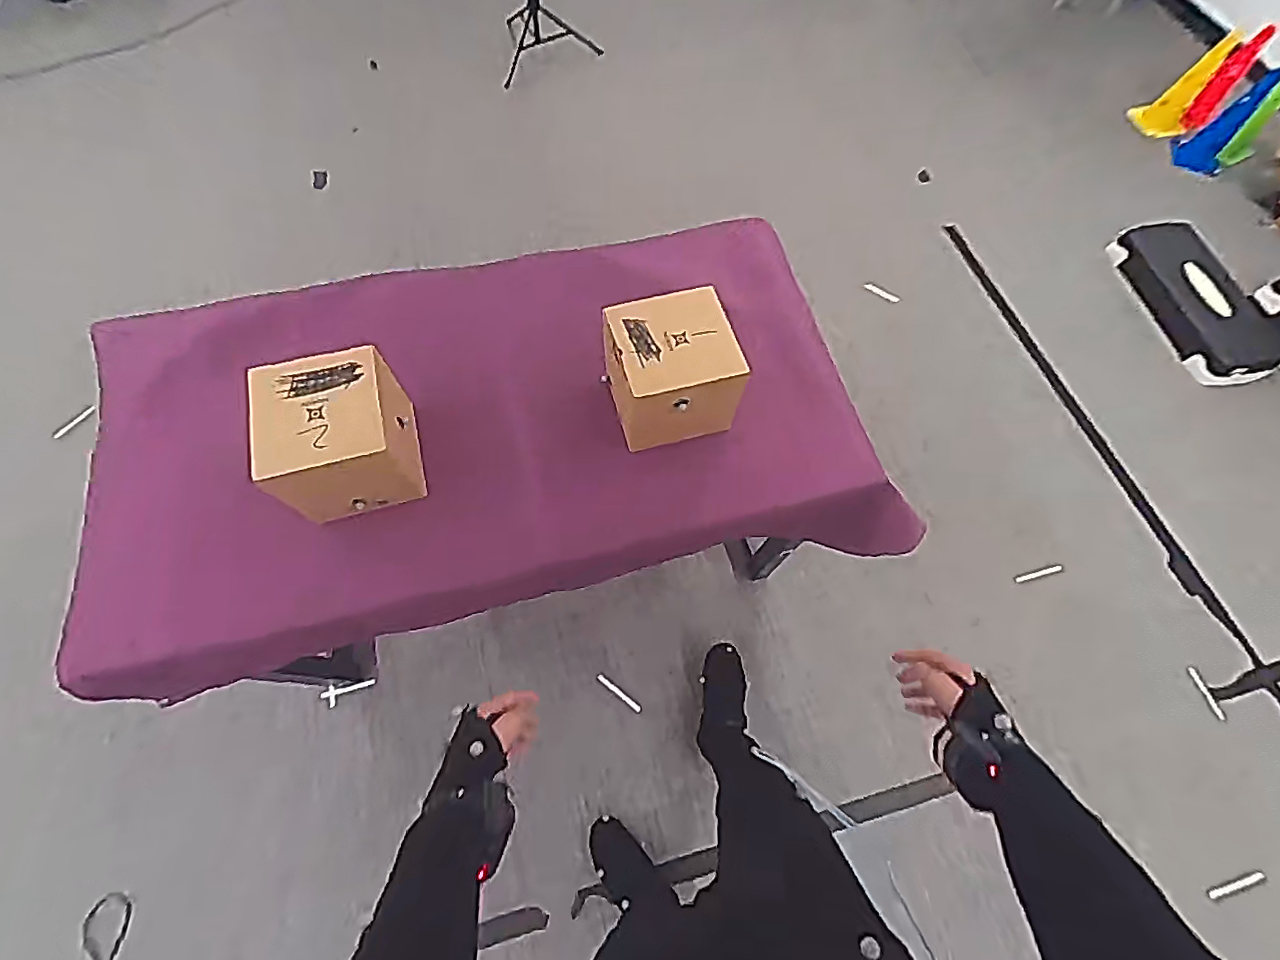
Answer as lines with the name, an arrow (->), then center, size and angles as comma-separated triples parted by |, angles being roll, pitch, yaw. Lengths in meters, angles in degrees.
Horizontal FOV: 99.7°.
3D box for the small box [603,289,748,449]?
small box -> 0.048, -0.167, 0.851 | 0.179, 0.176, 0.168 | -14, 68, -8
